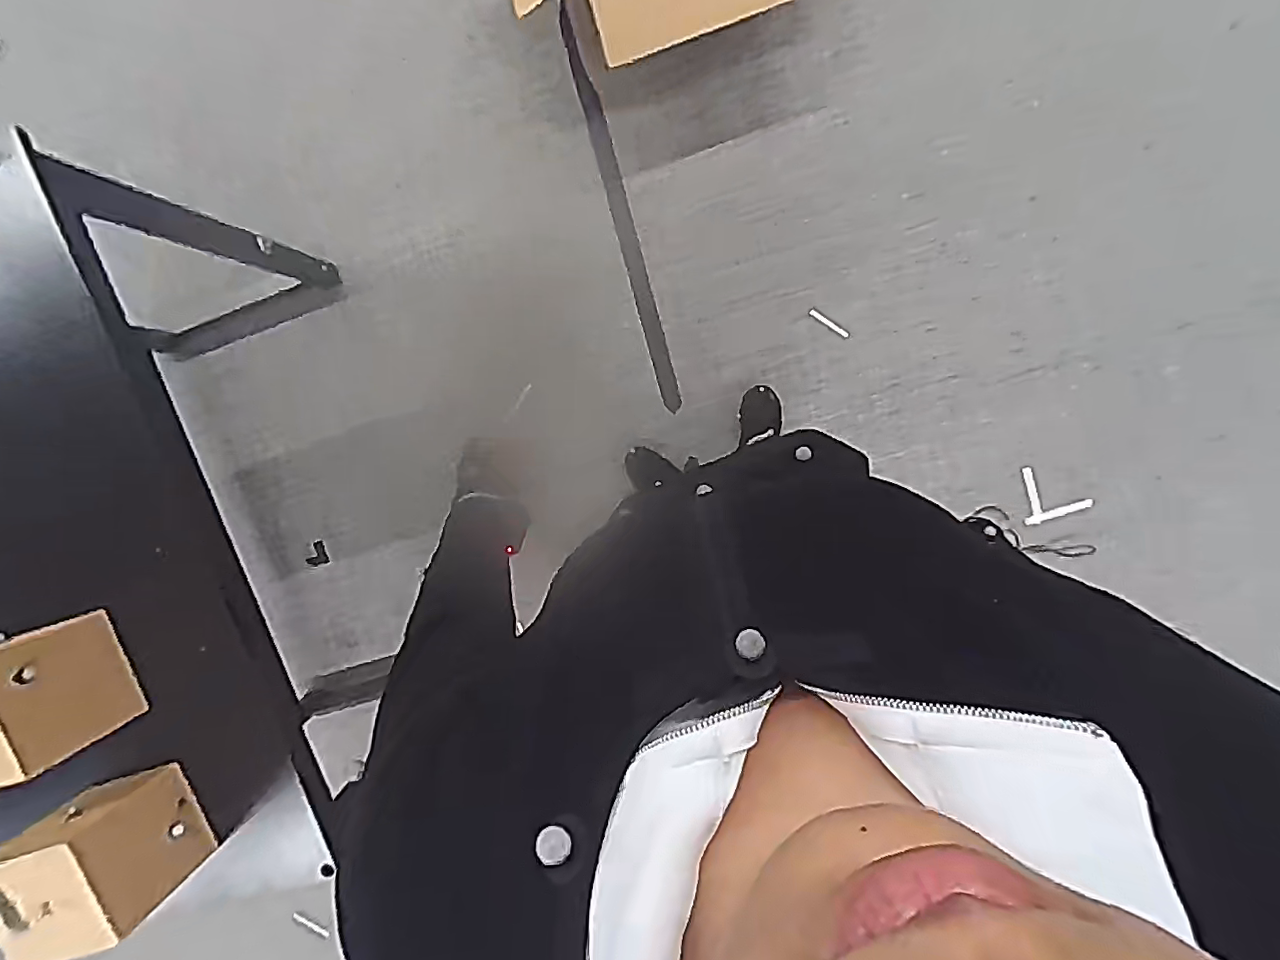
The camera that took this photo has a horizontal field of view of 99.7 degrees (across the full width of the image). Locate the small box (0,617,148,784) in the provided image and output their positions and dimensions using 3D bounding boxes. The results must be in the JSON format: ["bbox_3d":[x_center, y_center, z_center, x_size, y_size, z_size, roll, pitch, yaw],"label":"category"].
[{"bbox_3d":[-0.894,0.318,0.790,0.168,0.176,0.179,-17,97,7],"label":"small box"}]

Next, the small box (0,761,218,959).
[{"bbox_3d":[-0.811,0.569,0.823,0.179,0.176,0.168,-19,97,6],"label":"small box"}]
